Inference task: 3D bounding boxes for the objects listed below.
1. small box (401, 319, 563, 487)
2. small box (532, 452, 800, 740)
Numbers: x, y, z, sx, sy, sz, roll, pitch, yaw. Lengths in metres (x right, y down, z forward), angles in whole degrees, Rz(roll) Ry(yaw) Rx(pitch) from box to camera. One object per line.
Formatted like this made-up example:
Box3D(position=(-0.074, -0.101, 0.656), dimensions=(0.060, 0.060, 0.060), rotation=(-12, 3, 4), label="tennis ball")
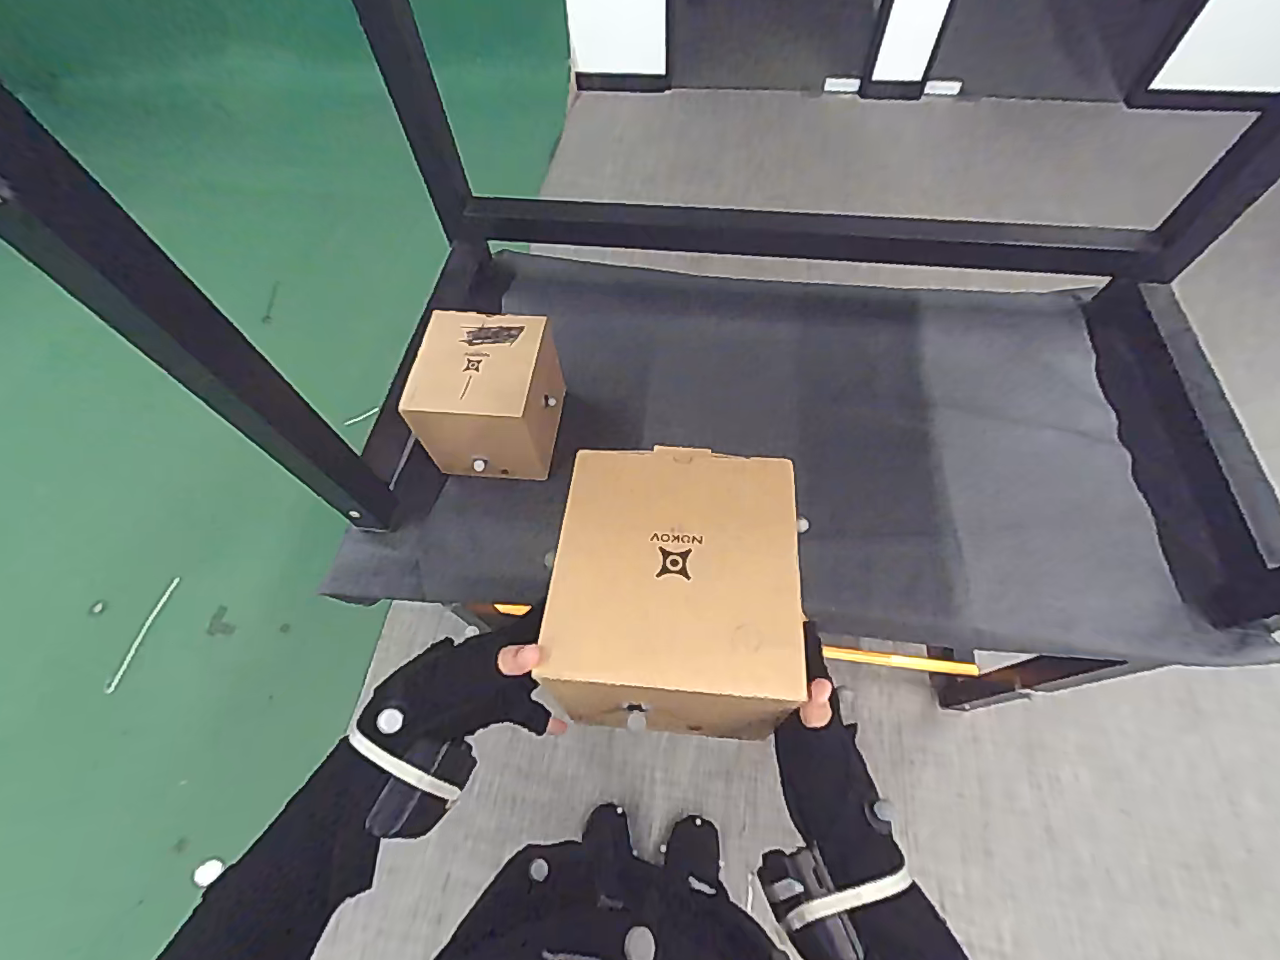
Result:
Box3D(position=(-0.215, -0.110, 0.793), dimensions=(0.168, 0.176, 0.179), rotation=(4, 61, 5), label="small box")
Box3D(position=(0.028, 0.097, 0.433), dimensions=(0.168, 0.176, 0.179), rotation=(2, 54, 6), label="small box")
